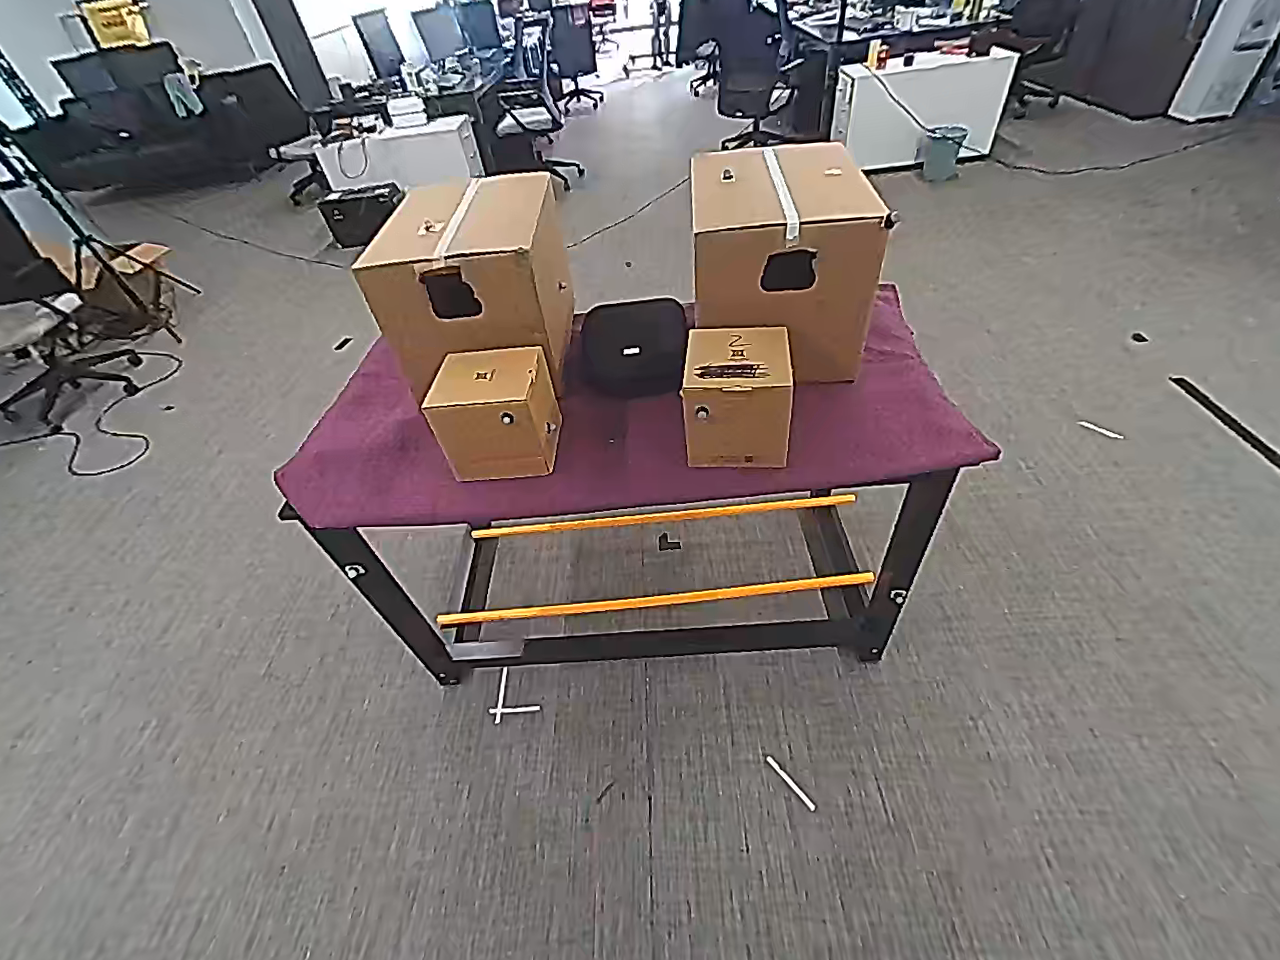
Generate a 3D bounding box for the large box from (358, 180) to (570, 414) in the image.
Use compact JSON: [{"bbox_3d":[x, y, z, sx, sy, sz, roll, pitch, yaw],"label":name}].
[{"bbox_3d":[-0.332,-0.397,1.162,0.320,0.320,0.408,-6,47,3],"label":"large box"}]
